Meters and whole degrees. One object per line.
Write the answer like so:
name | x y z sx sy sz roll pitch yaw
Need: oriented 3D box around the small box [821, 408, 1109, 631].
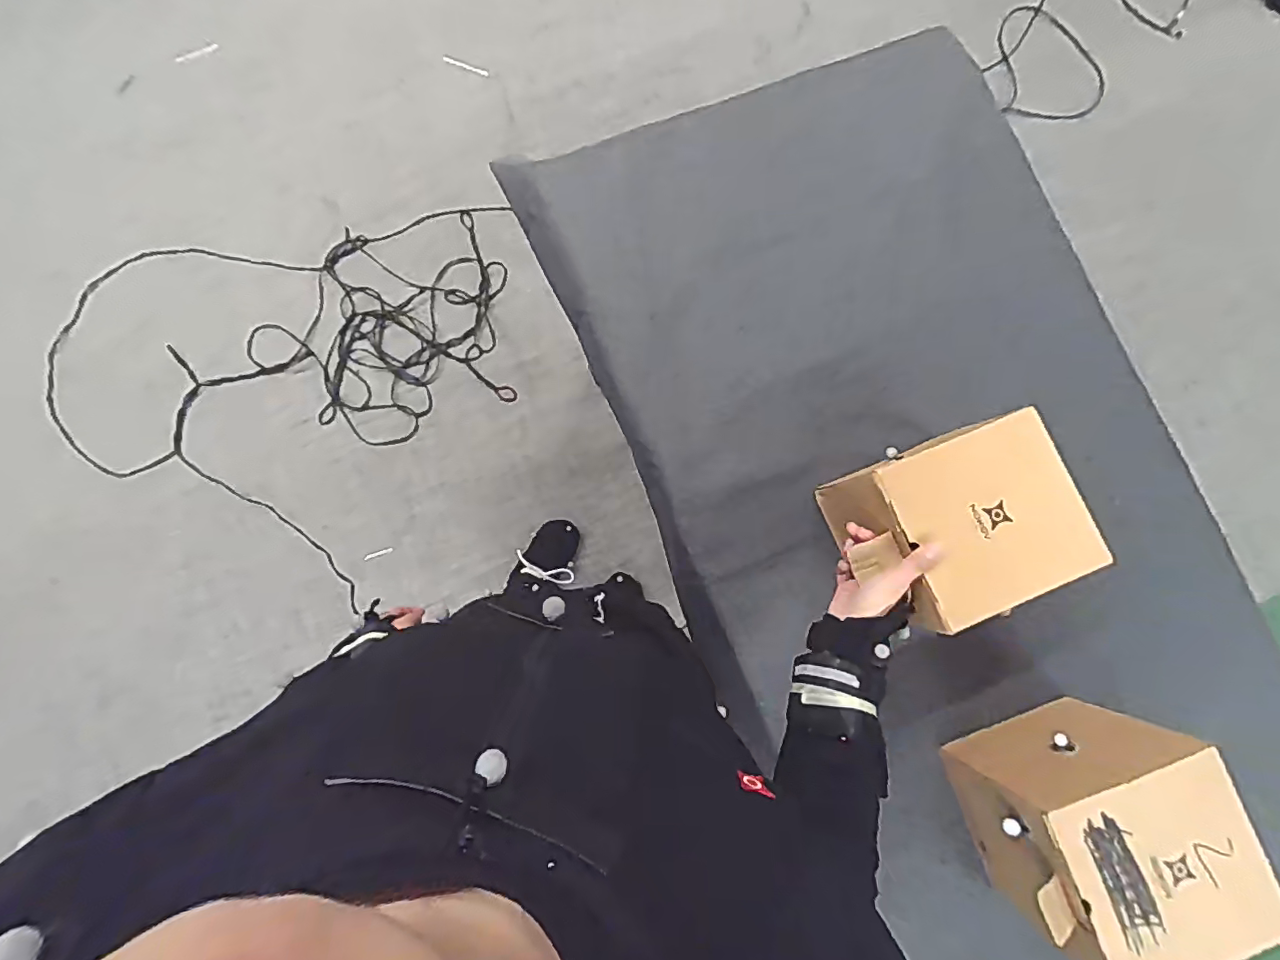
small box | 0.331 0.043 0.590 0.179 0.176 0.168 -23 84 -4
